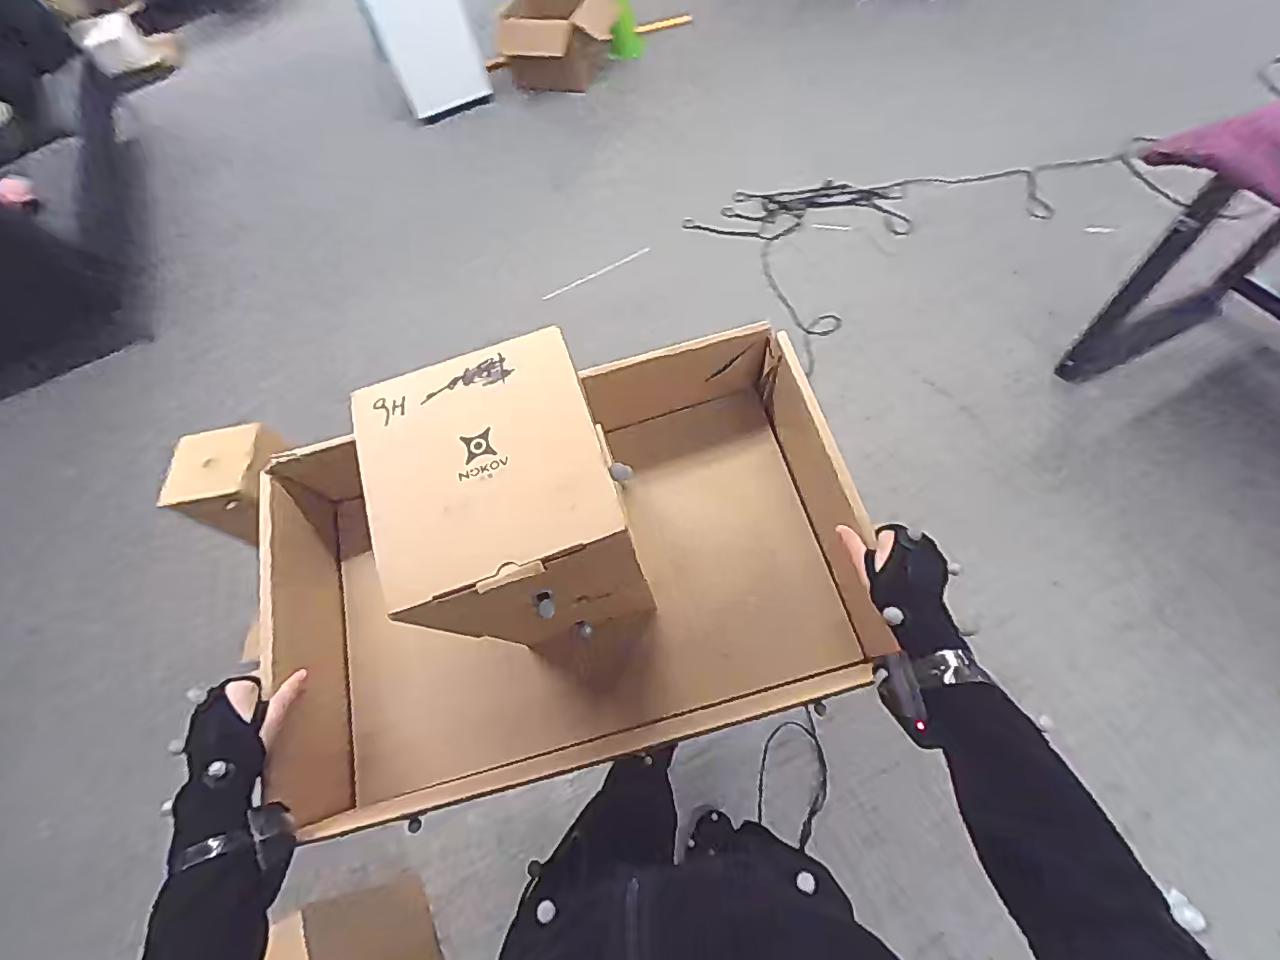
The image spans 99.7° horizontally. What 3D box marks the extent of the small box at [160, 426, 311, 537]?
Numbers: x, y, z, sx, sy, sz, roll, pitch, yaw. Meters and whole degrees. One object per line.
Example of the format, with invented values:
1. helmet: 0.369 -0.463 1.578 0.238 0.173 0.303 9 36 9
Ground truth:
1. small box: -0.854 0.010 1.161 0.179 0.176 0.168 -10 61 3

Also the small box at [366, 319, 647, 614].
1. small box: -0.097 0.005 0.453 0.168 0.176 0.179 -18 69 -3
